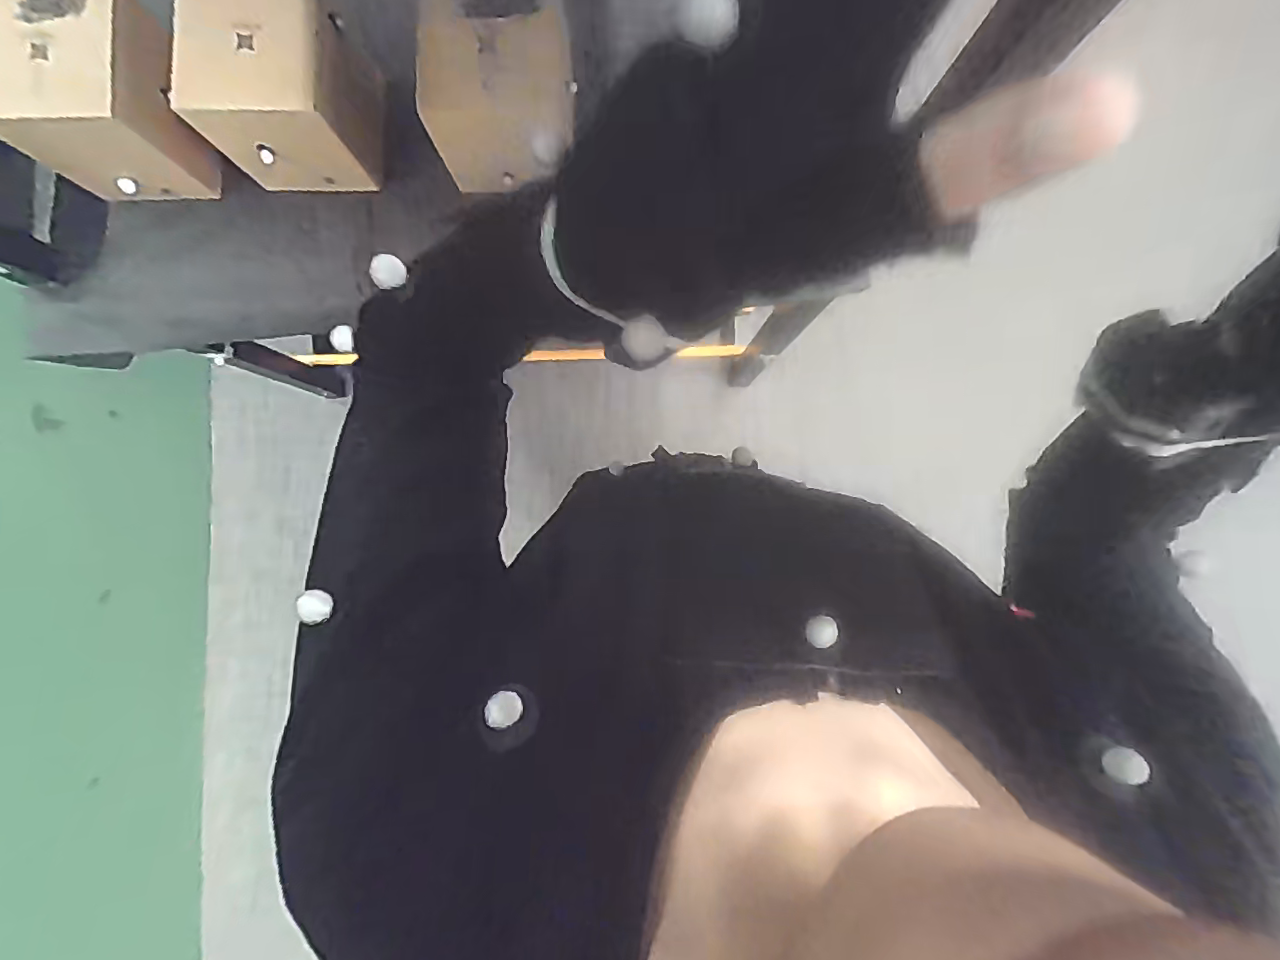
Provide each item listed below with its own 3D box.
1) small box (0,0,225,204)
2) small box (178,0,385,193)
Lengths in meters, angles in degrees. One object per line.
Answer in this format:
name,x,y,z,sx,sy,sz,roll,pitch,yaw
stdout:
small box,-0.681,-0.491,0.705,0.168,0.176,0.179,-2,87,-1
small box,-0.454,-0.505,0.712,0.168,0.176,0.179,0,86,-1
